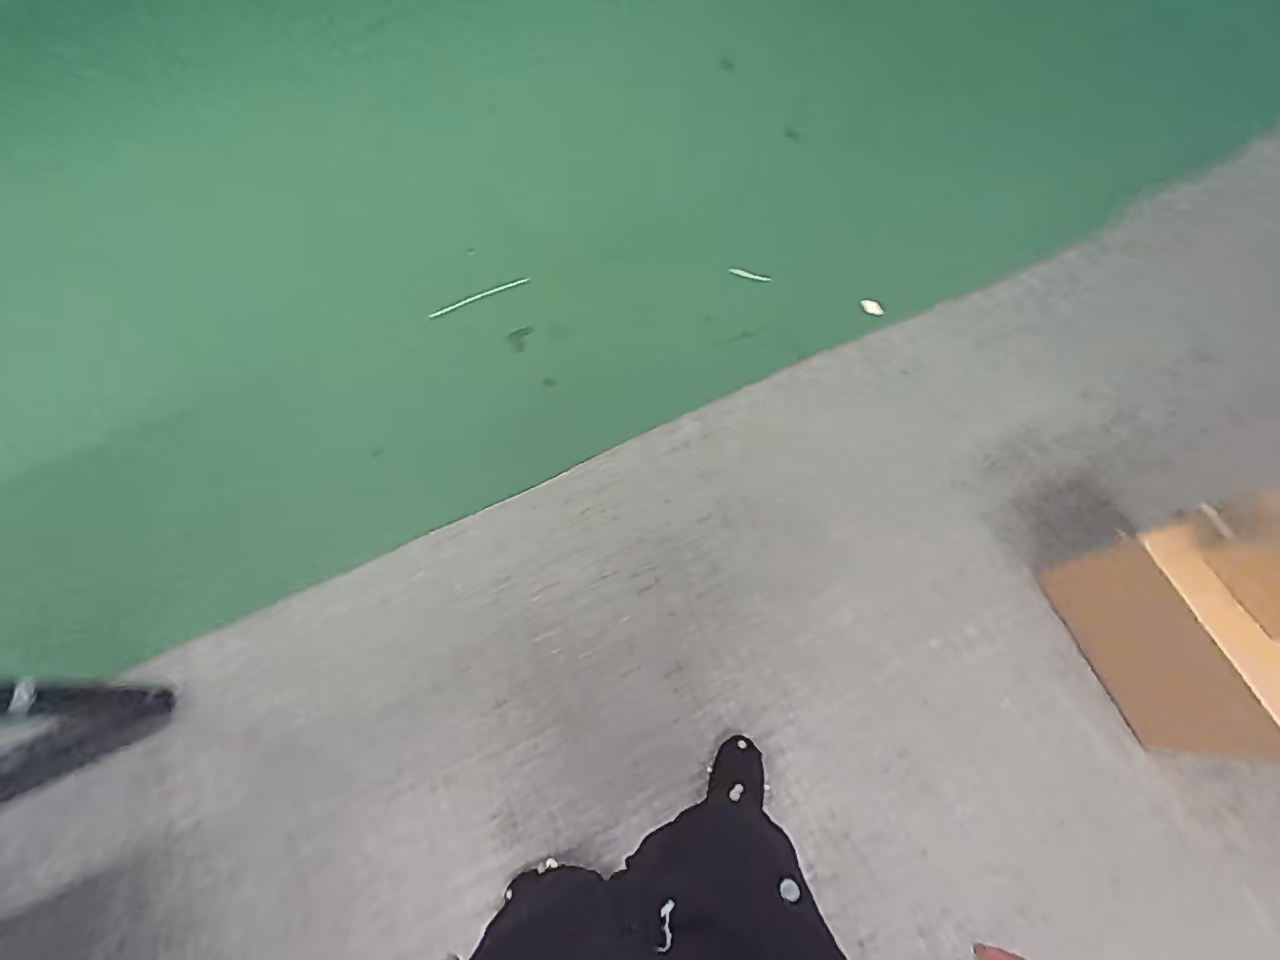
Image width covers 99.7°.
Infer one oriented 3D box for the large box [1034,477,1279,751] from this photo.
[{"bbox_3d":[1.125,0.267,1.079,0.320,0.320,0.408,-20,69,-5],"label":"large box"}]
